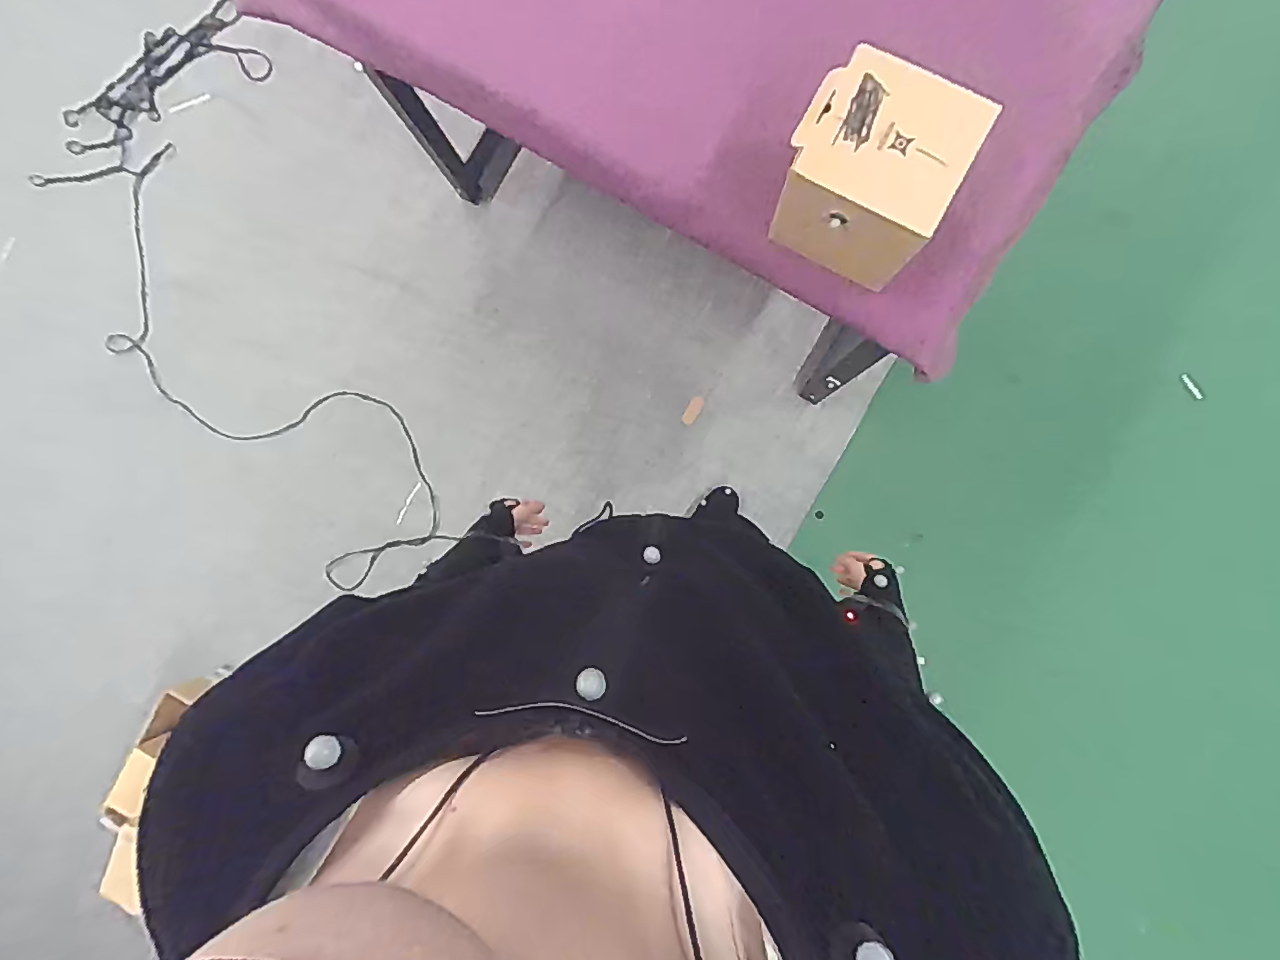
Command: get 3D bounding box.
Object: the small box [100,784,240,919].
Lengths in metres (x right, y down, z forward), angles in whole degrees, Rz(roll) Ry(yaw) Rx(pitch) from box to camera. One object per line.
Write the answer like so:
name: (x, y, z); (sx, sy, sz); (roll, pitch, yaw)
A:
small box: (-1.107, 0.873, 1.288); (0.168, 0.176, 0.179); (19, 90, 4)

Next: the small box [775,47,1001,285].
small box: (0.292, -0.378, 0.685); (0.179, 0.176, 0.168); (29, 92, 4)
